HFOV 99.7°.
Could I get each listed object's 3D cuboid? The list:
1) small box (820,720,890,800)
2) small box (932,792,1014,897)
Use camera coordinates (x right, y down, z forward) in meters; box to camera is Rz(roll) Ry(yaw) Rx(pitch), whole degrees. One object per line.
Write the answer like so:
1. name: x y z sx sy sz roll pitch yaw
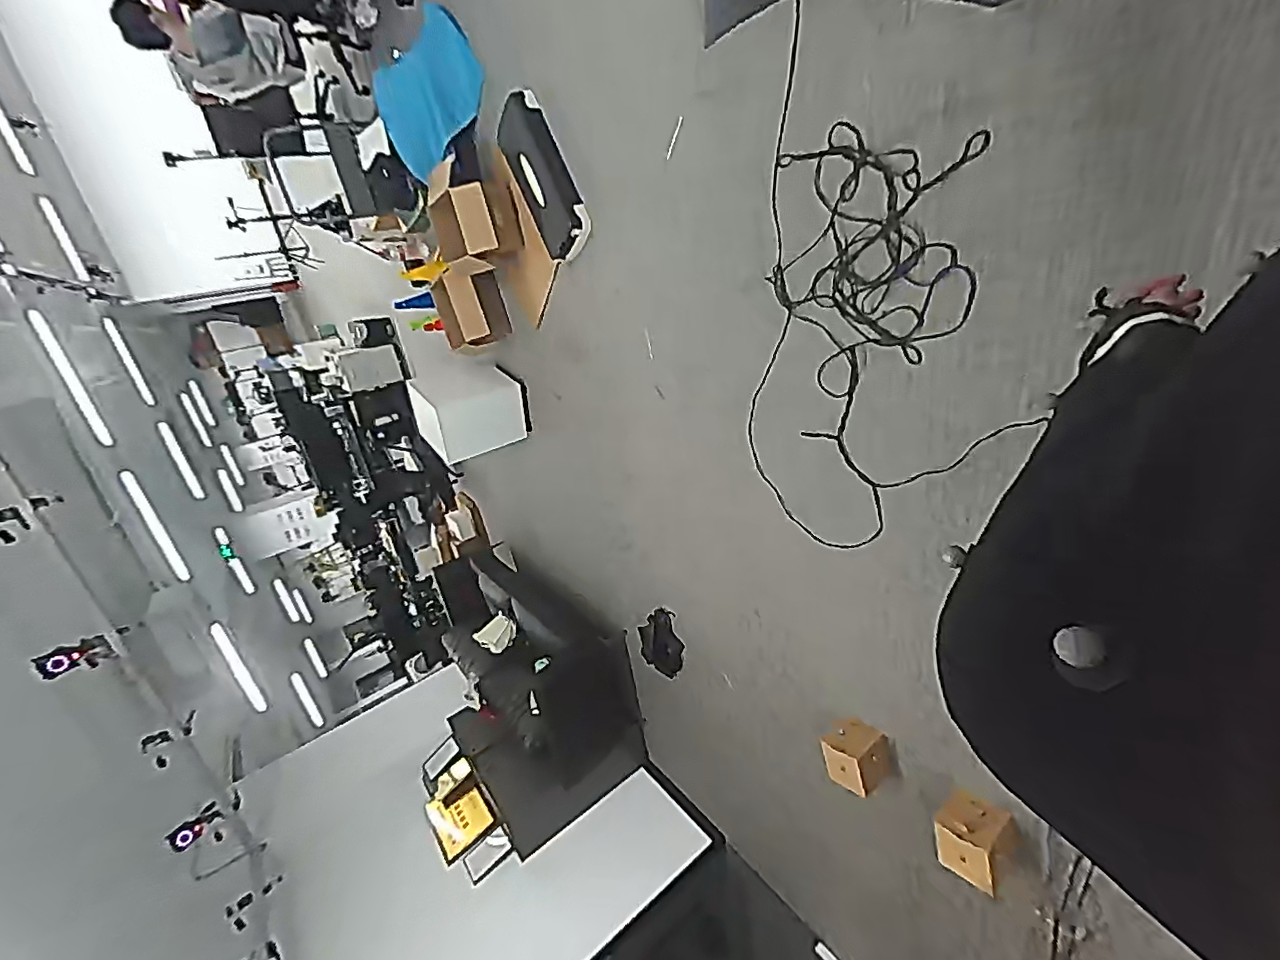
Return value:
1. small box: 0.816 1.048 2.044 0.168 0.176 0.179 2 113 59
2. small box: 1.064 1.151 1.721 0.168 0.176 0.179 7 115 56
